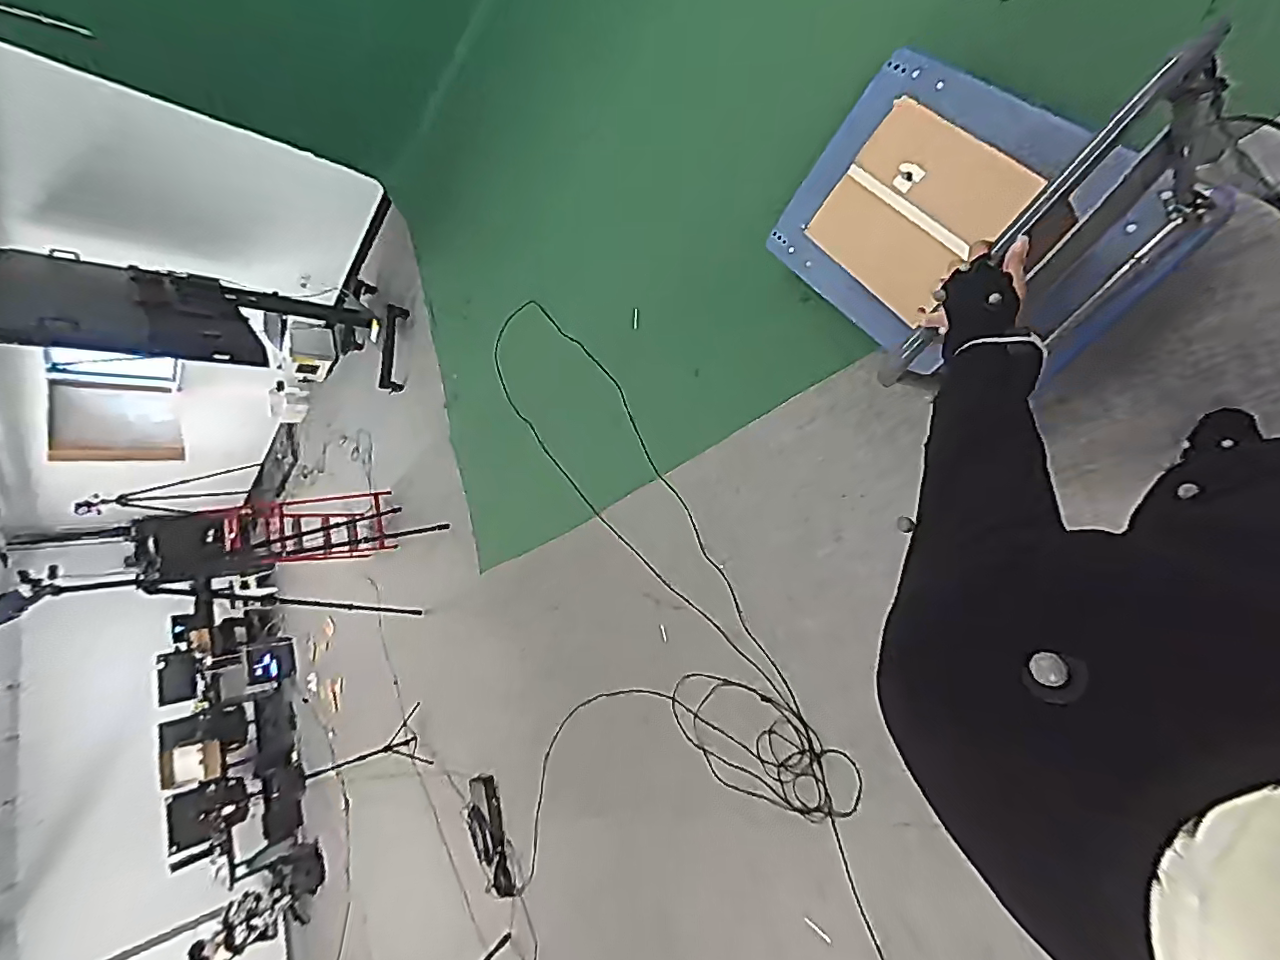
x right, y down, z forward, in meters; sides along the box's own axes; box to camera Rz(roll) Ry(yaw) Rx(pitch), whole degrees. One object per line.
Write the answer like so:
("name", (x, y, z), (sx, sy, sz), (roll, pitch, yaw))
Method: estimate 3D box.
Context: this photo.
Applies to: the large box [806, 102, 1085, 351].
("large box", (0.672, -0.547, 1.217), (0.320, 0.320, 0.408), (-52, 56, 33))
